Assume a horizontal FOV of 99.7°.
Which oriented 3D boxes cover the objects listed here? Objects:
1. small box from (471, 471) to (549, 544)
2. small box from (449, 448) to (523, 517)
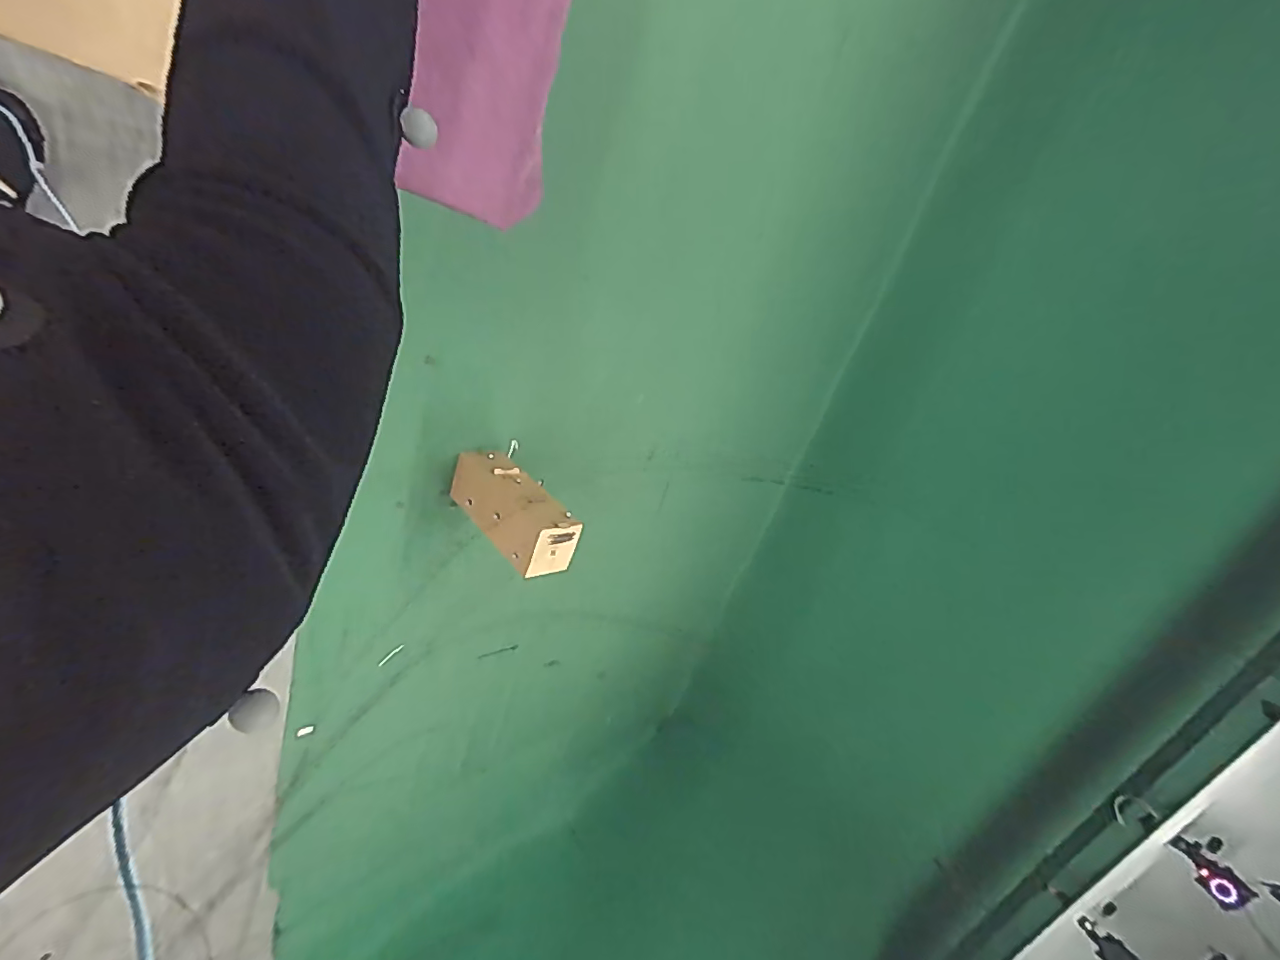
[{"bbox_3d":[-0.433,0.085,1.774,0.168,0.176,0.179,-3,121,-49],"label":"small box"},{"bbox_3d":[-0.538,0.004,1.868,0.168,0.176,0.179,-5,123,-49],"label":"small box"}]
